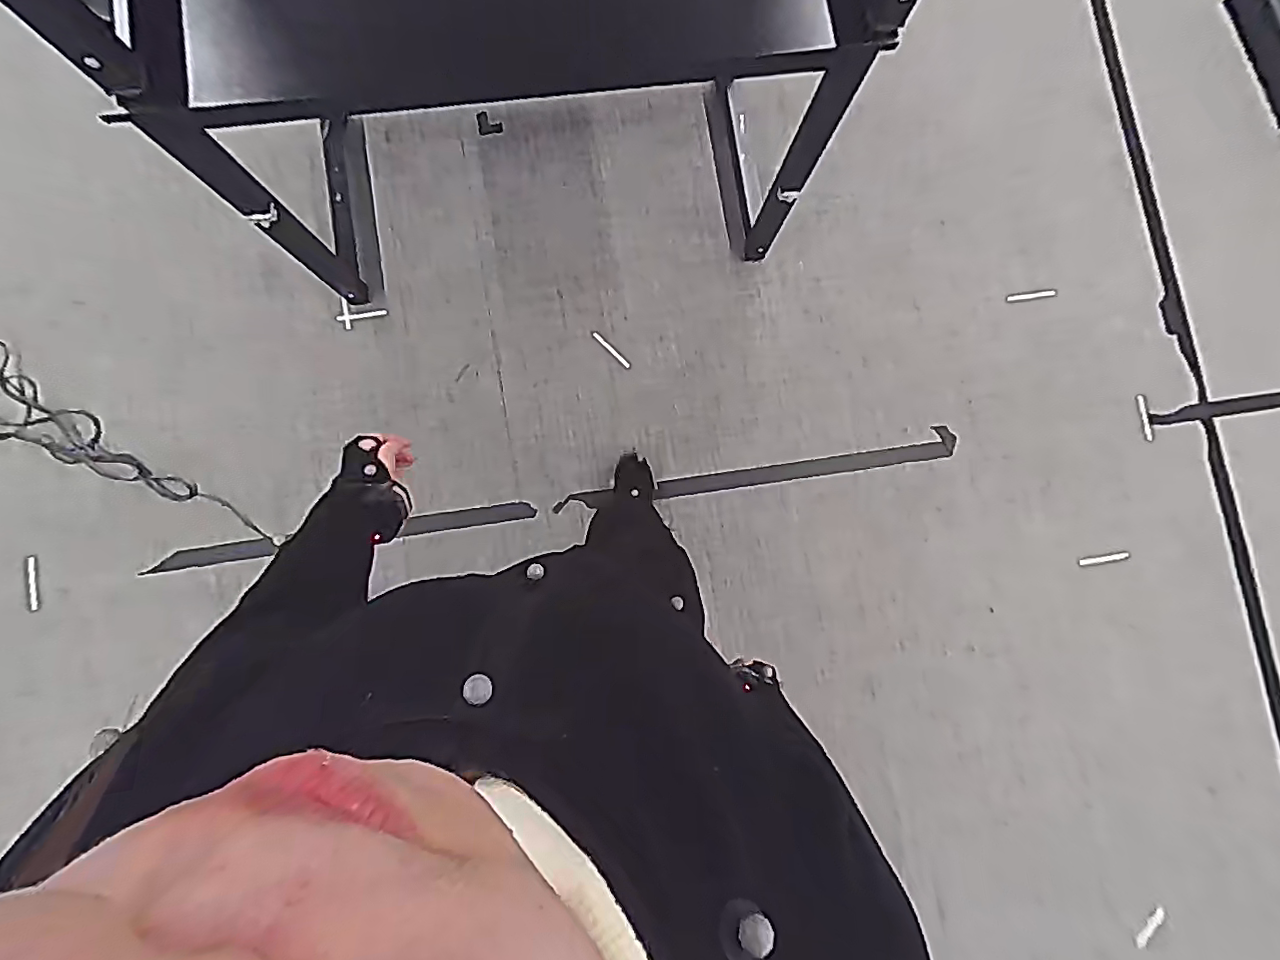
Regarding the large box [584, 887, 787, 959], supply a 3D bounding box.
[{"bbox_3d":[0.106,1.105,1.083,0.408,0.320,0.320,-8,86,-4],"label":"large box"}]
